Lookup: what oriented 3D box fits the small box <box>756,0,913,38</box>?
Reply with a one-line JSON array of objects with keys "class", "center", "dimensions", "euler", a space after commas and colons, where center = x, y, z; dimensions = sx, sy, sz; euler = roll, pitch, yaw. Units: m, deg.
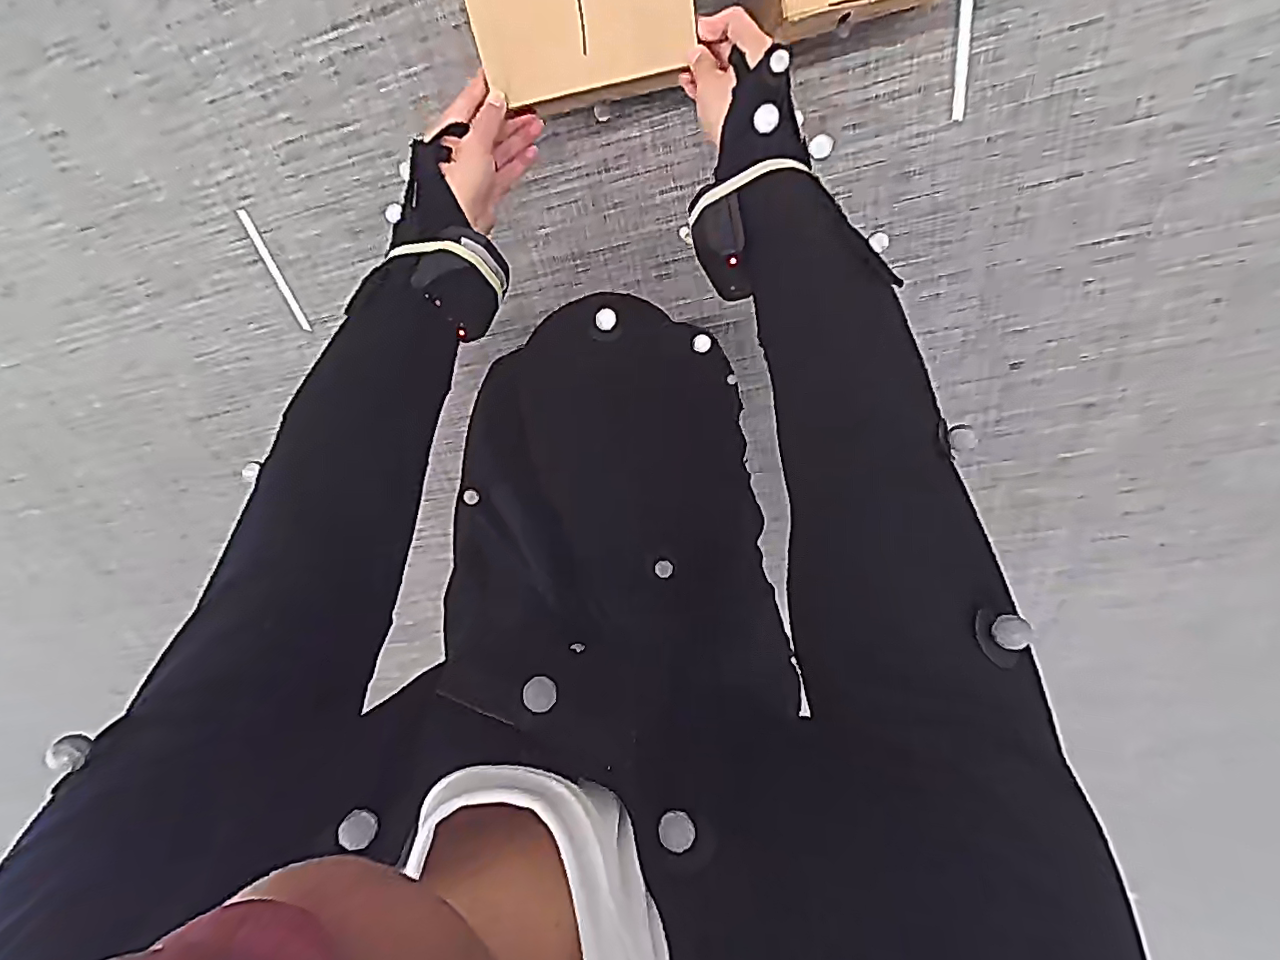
[{"class": "small box", "center": [0.172, -0.463, 0.397], "dimensions": [0.168, 0.176, 0.179], "euler": [-10, 123, 9]}]

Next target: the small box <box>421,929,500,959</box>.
[{"class": "small box", "center": [-0.532, 1.435, 1.564], "dimensions": [0.179, 0.176, 0.168], "euler": [-13, 122, 10]}]

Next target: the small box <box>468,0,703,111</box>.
[{"class": "small box", "center": [-0.046, -0.417, 0.433], "dimensions": [0.168, 0.176, 0.179], "euler": [-8, 123, 7]}]
